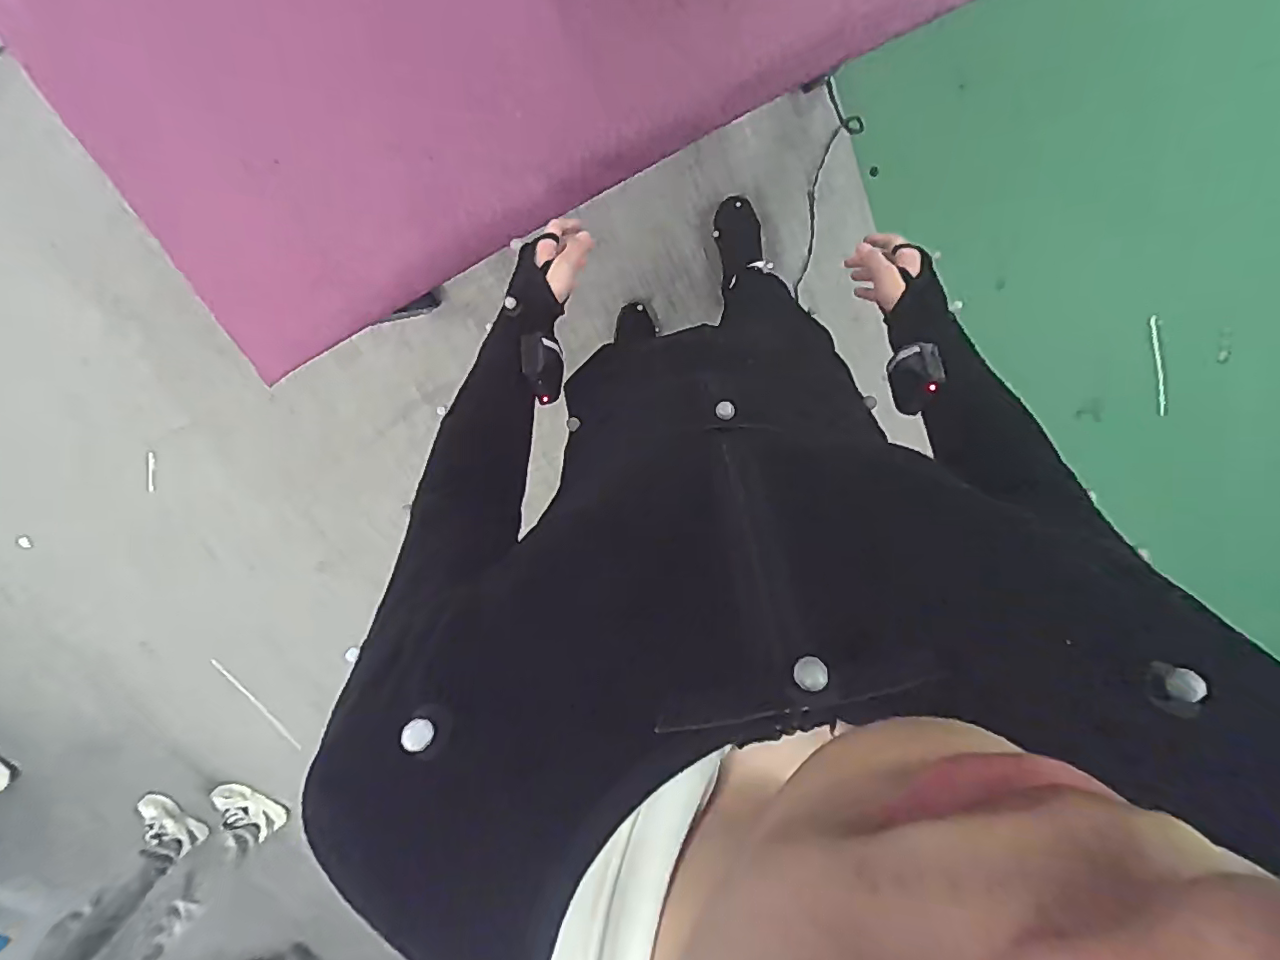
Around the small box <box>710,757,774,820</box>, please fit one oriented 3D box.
[{"bbox_3d":[0.382,1.187,2.046,0.179,0.176,0.168,-23,109,7],"label":"small box"}]
